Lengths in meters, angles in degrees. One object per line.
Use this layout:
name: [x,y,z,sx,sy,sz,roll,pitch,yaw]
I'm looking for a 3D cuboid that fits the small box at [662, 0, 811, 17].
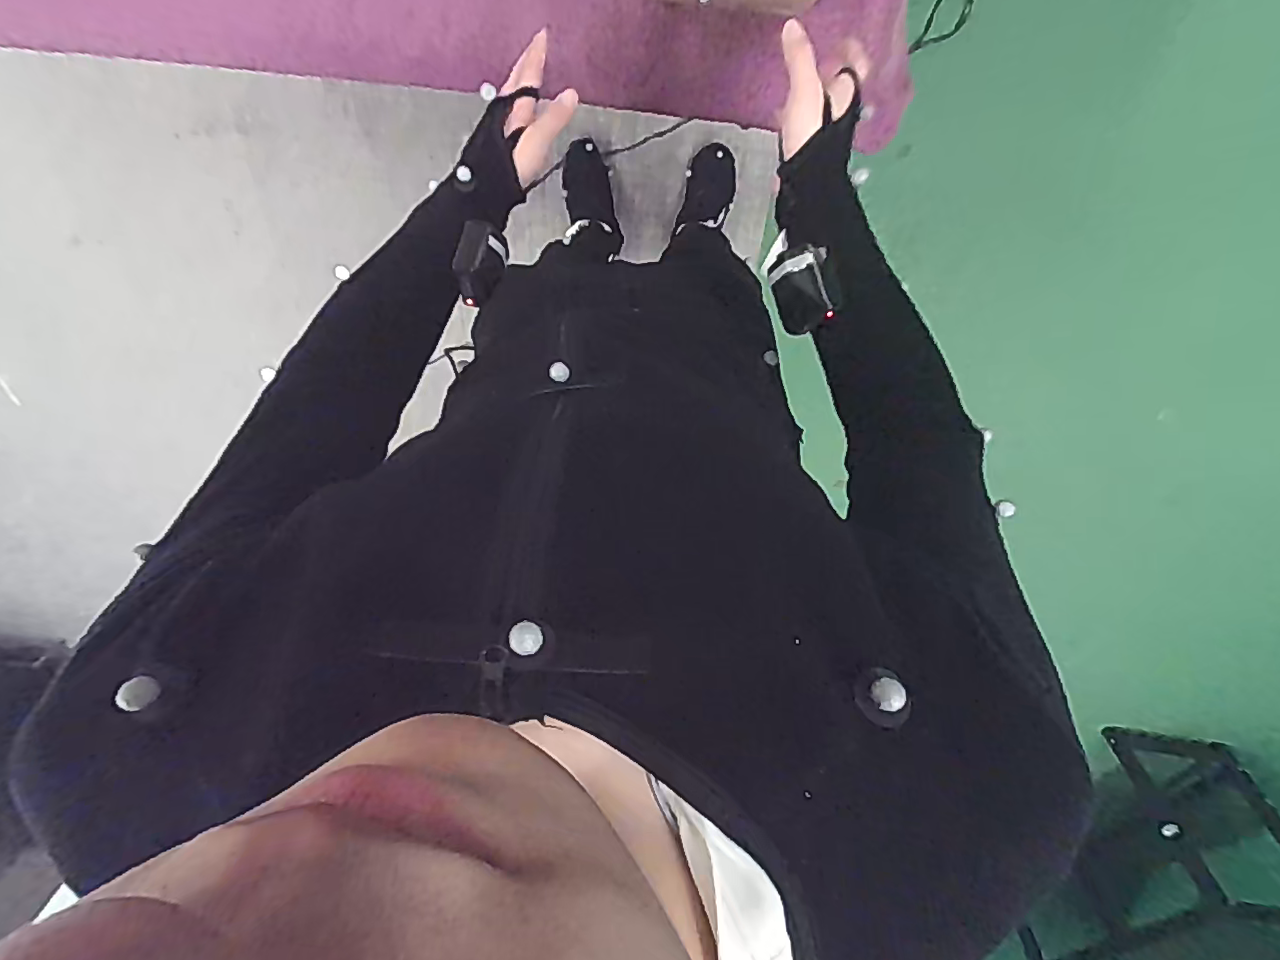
small box: [0.089,-0.529,0.461,0.168,0.176,0.179,8,125,1]
